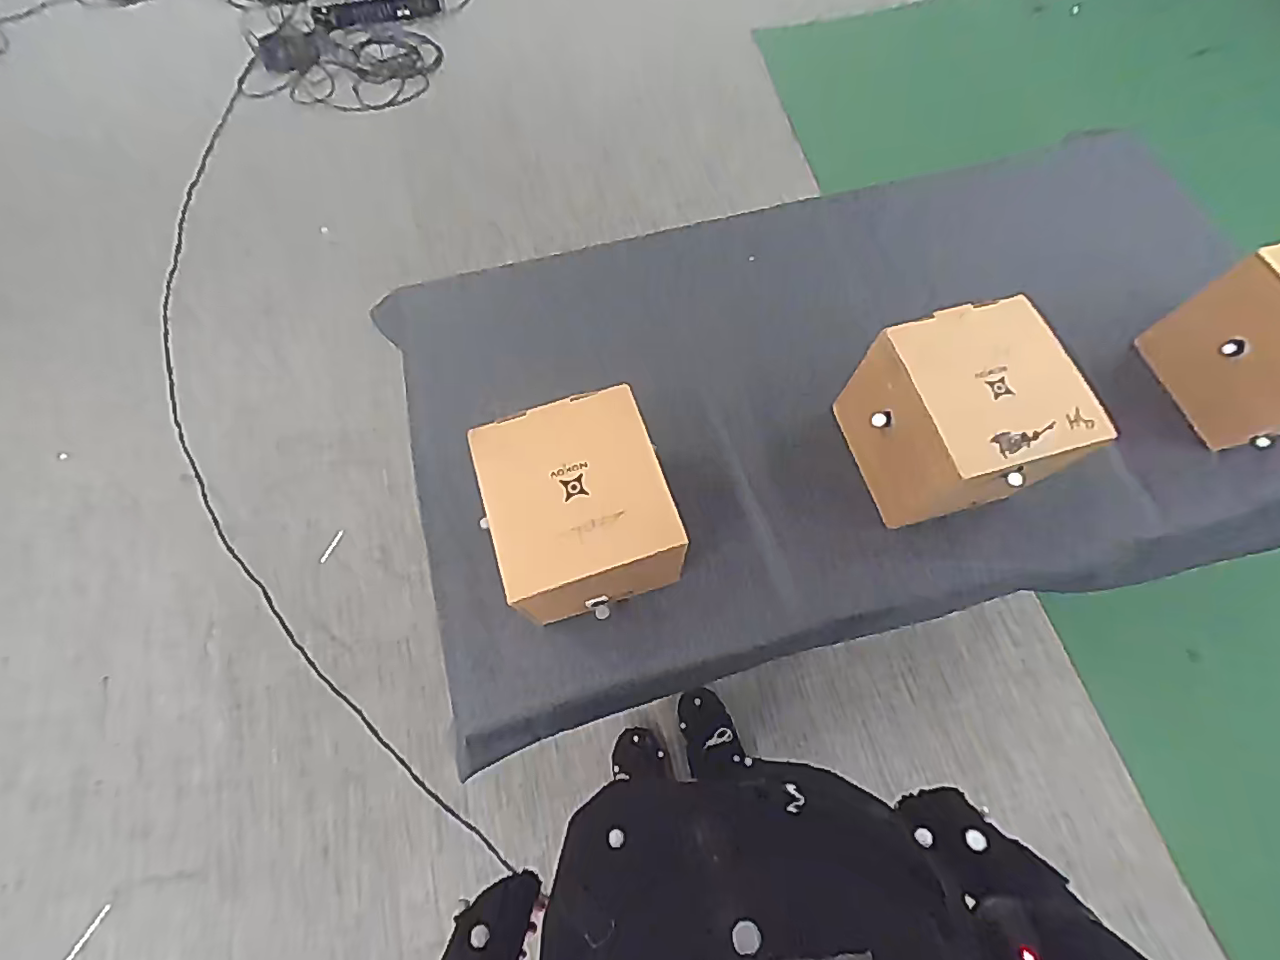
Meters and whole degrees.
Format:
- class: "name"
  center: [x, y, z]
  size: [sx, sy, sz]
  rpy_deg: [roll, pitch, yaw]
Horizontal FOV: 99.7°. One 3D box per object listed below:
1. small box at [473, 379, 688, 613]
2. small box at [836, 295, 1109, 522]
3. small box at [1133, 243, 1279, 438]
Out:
- class: "small box"
  center: [-0.059, 0.026, 0.577]
  size: [0.168, 0.176, 0.179]
  rpy_deg: [-18, 70, -6]
- class: "small box"
  center: [0.349, -0.073, 0.613]
  size: [0.168, 0.176, 0.179]
  rpy_deg: [-15, 69, -5]
- class: "small box"
  center: [0.766, -0.164, 0.642]
  size: [0.168, 0.176, 0.179]
  rpy_deg: [-14, 68, -4]
